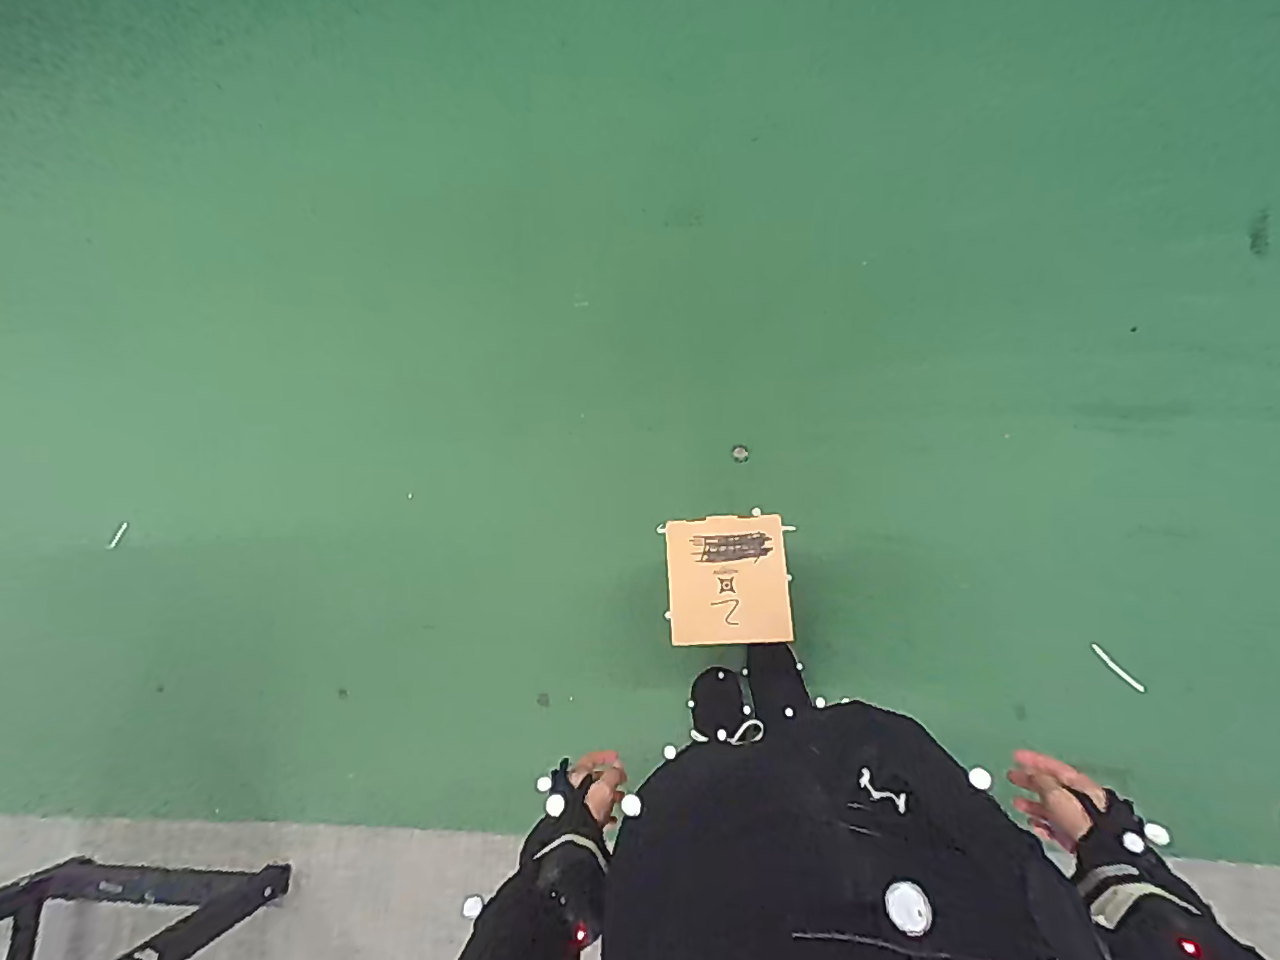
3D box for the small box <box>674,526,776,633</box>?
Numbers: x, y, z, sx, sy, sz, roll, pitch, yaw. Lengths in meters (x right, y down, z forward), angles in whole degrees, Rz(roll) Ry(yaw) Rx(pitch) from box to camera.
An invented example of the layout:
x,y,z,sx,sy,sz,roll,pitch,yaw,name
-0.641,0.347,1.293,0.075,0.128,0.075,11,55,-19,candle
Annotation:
x,y,z,sx,sy,sz,roll,pitch,yaw,name
0.154,0.183,0.991,0.168,0.176,0.179,-4,77,8,small box
